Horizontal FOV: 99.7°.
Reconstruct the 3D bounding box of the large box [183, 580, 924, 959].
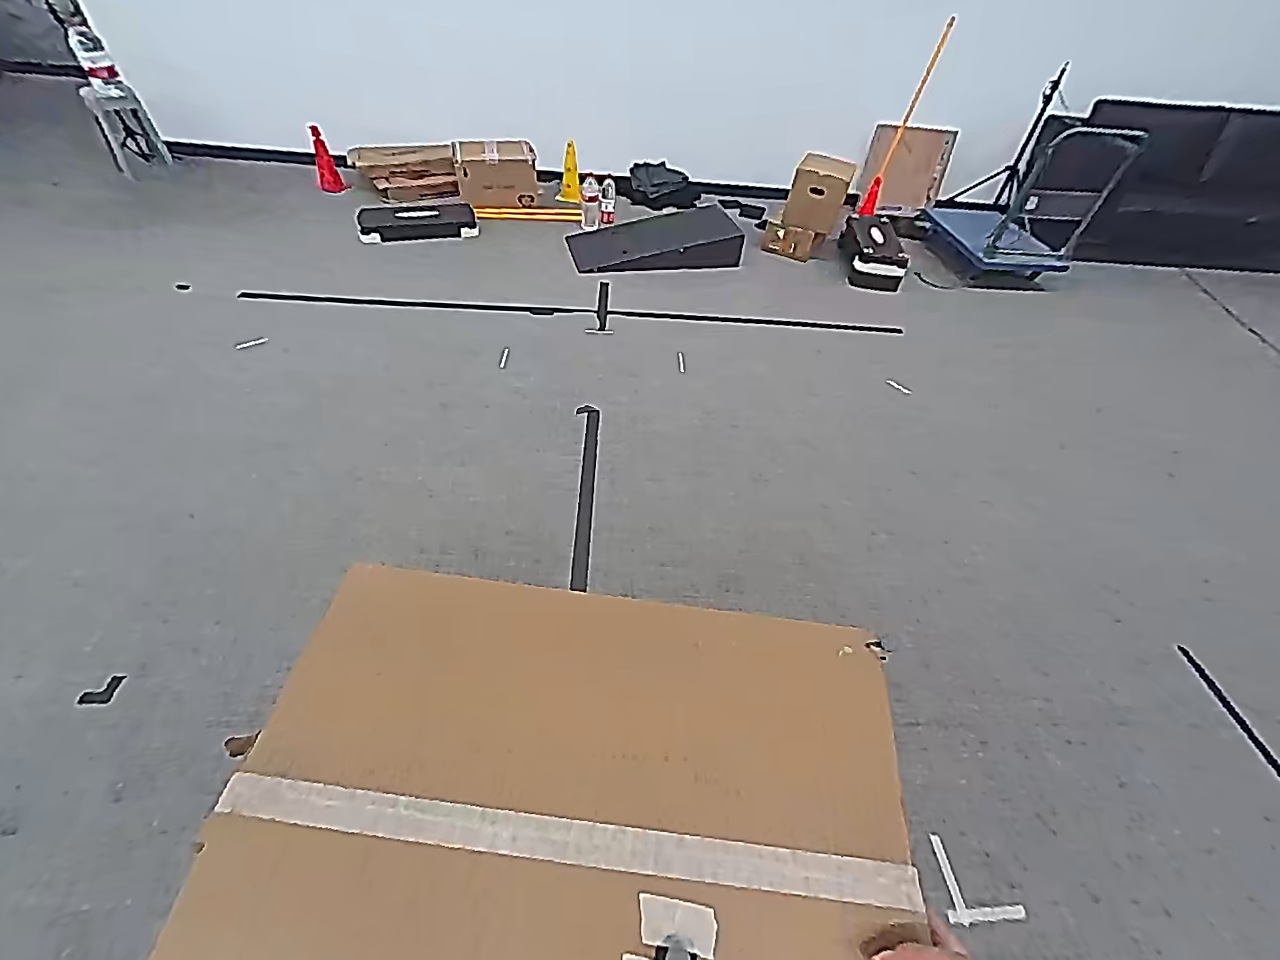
[{"bbox_3d":[-0.045,0.309,0.441,0.408,0.320,0.320,7,52,1],"label":"large box"}]
